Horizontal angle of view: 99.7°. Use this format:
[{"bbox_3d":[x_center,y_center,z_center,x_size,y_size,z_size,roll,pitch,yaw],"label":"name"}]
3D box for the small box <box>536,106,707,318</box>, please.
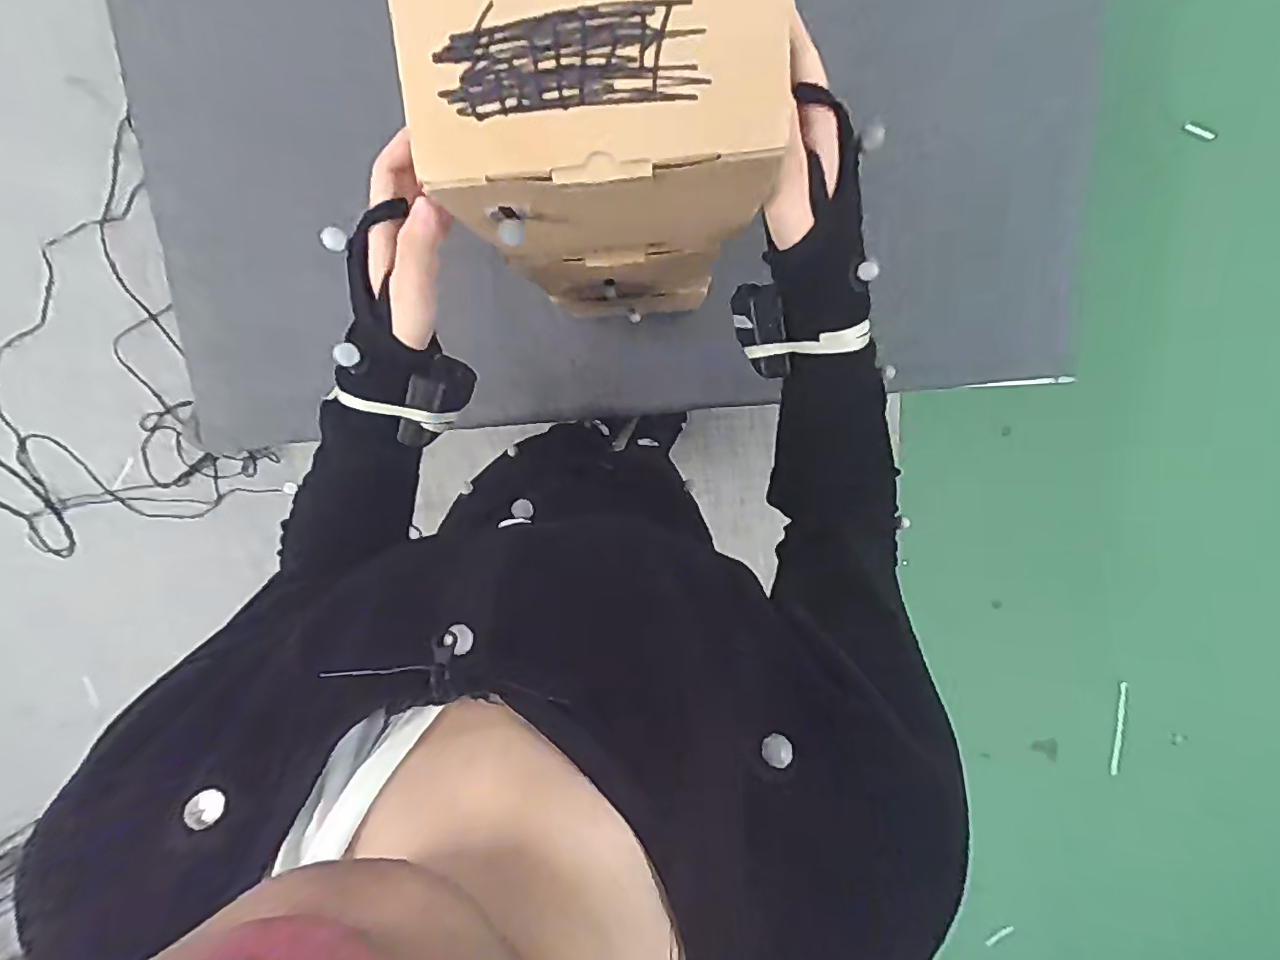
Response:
[{"bbox_3d":[-0.015,-0.288,0.619,0.168,0.176,0.179,-3,102,3],"label":"small box"}]
